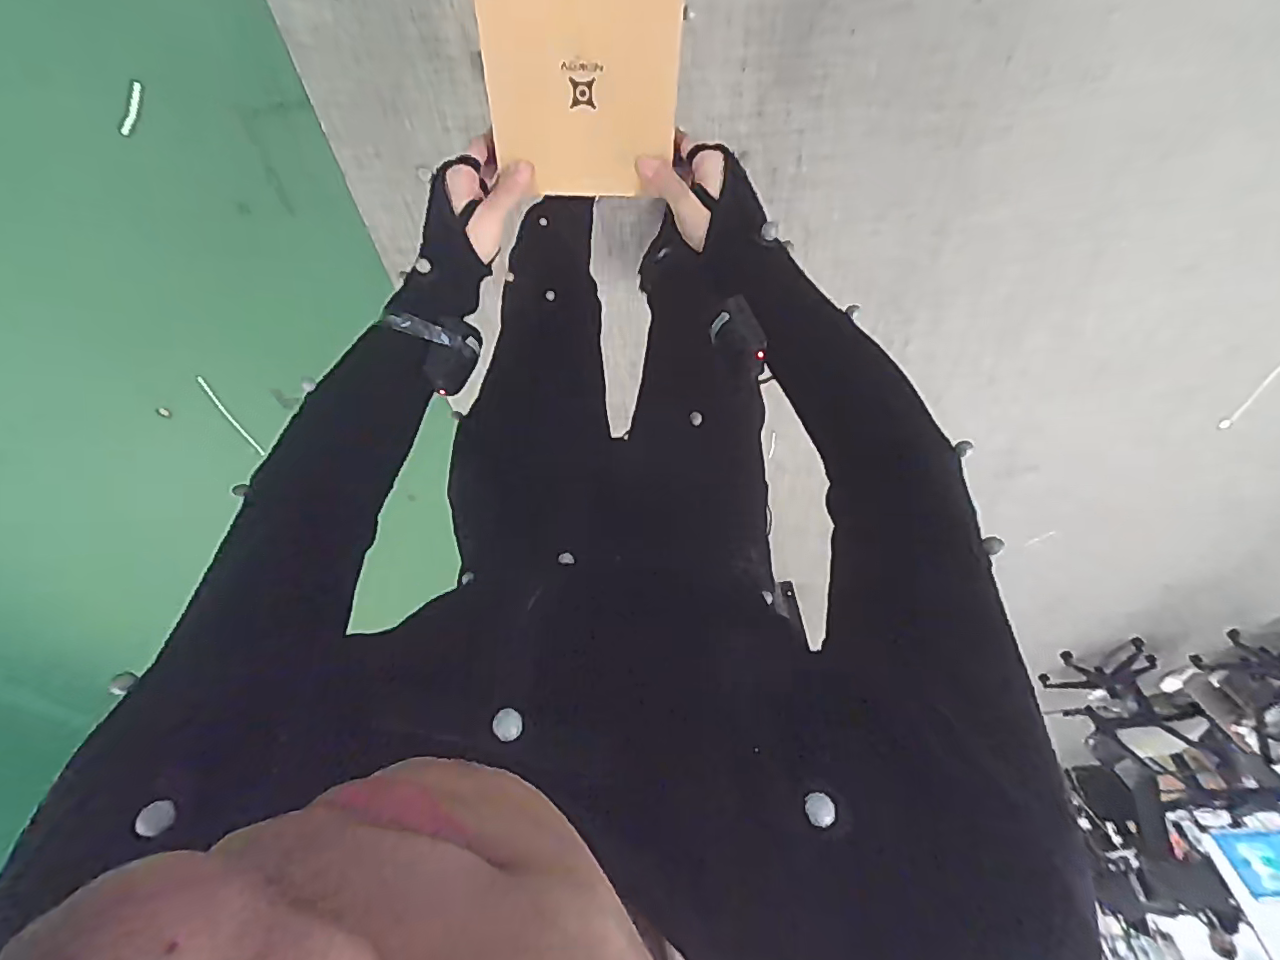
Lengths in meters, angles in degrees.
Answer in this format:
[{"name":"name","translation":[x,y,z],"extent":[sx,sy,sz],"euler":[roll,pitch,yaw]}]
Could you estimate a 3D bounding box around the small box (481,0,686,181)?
[{"name":"small box","translation":[-0.049,-0.409,0.514],"extent":[0.168,0.176,0.179],"euler":[-1,136,-3]}]
